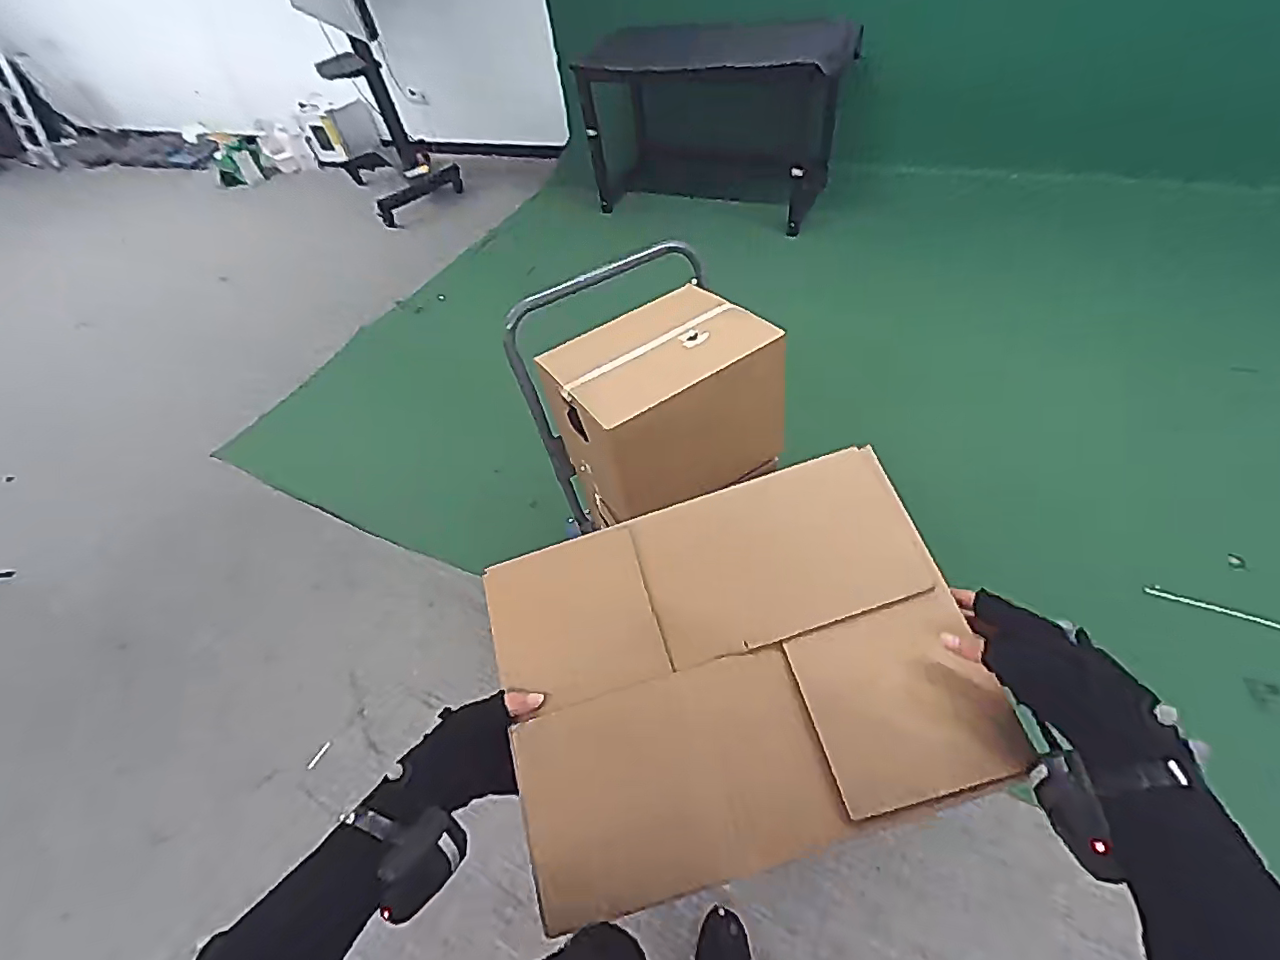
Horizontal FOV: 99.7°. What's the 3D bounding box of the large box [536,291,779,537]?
[{"bbox_3d":[0.049,-0.152,1.173,0.408,0.320,0.320,-29,47,-16],"label":"large box"}]
